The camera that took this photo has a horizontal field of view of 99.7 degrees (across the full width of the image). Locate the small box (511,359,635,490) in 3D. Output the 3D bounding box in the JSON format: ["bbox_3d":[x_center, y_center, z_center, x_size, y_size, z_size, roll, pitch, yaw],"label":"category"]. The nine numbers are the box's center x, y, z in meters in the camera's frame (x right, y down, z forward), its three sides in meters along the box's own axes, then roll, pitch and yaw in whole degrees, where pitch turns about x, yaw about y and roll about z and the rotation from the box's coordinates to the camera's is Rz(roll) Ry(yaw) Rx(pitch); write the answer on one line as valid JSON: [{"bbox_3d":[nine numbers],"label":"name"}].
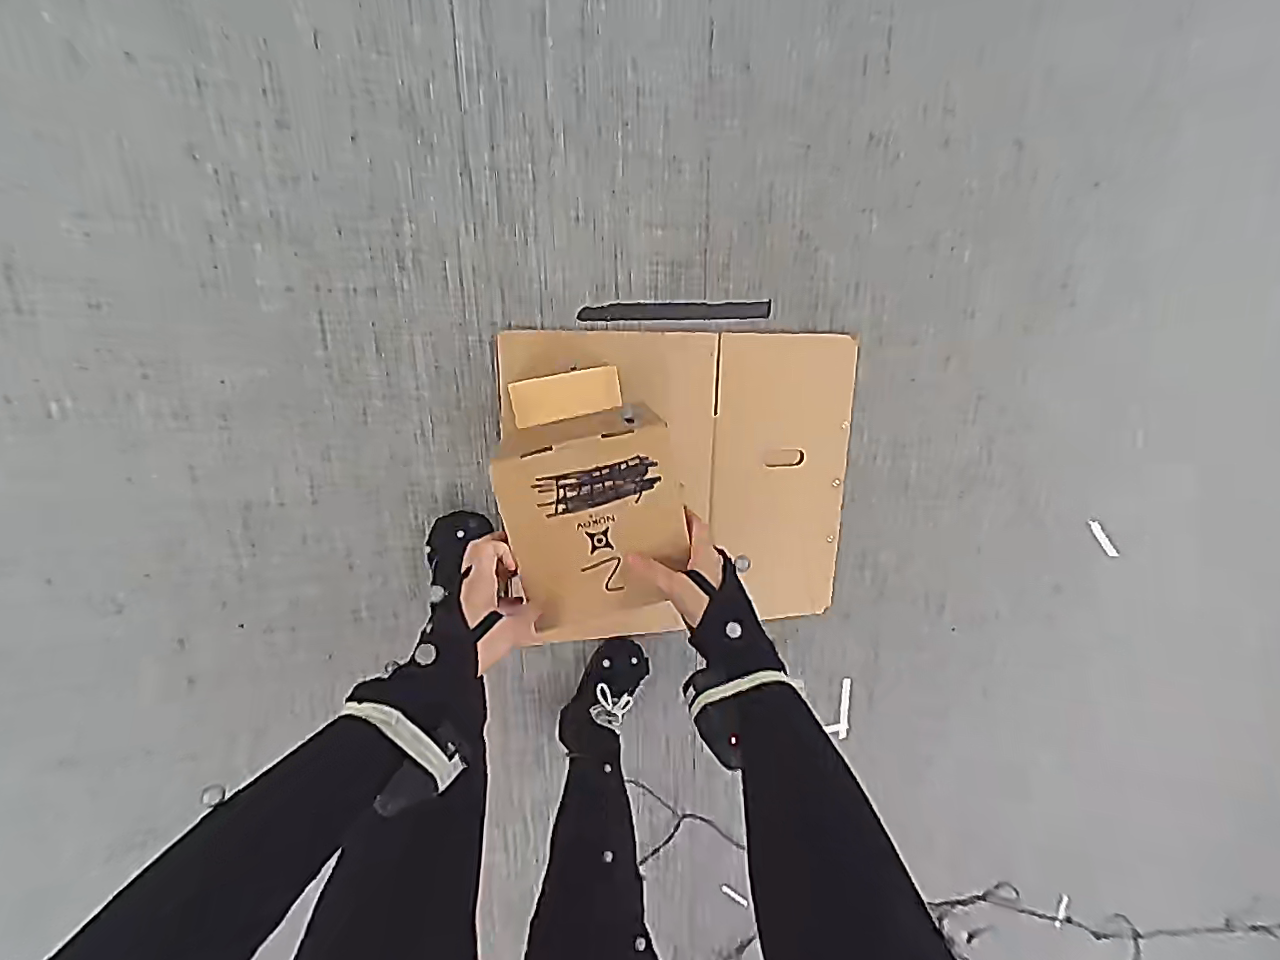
[{"bbox_3d":[-0.115,-0.102,0.895,0.168,0.176,0.179,-13,108,-9],"label":"small box"}]
